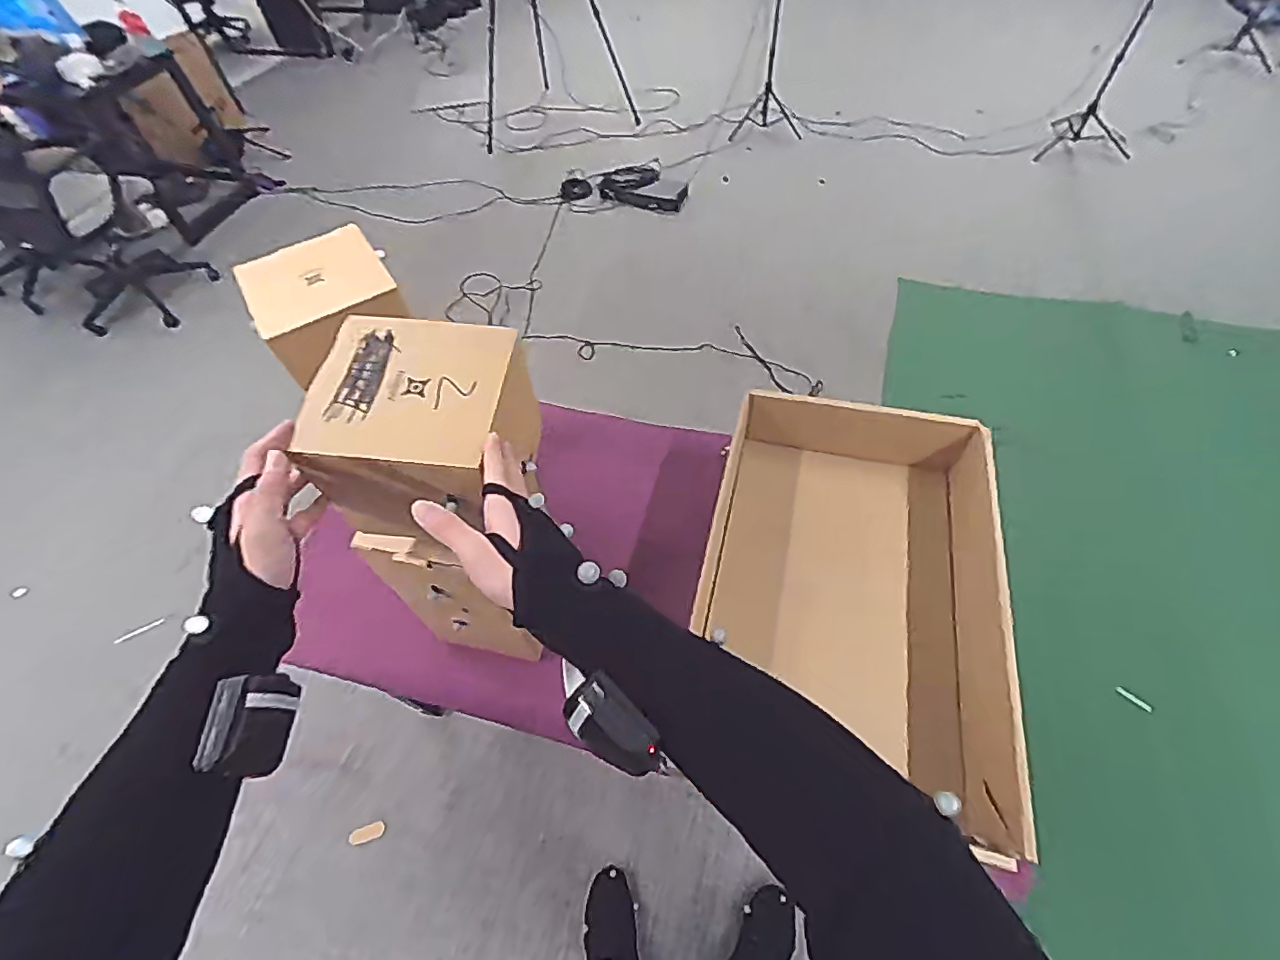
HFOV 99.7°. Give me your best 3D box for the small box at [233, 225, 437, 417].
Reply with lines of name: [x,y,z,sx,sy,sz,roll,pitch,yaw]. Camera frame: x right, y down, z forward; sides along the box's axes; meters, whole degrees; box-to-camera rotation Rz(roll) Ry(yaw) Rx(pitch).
small box: [-0.411,-0.211,0.751,0.168,0.176,0.179,-31,60,-16]

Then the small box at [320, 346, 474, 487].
small box: [-0.400,-0.118,0.883,0.179,0.176,0.168,-29,60,-16]

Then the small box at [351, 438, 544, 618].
small box: [-0.244,0.071,0.742,0.168,0.176,0.179,10,56,9]

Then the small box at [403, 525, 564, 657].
small box: [-0.238,0.170,0.872,0.179,0.176,0.168,9,55,9]
